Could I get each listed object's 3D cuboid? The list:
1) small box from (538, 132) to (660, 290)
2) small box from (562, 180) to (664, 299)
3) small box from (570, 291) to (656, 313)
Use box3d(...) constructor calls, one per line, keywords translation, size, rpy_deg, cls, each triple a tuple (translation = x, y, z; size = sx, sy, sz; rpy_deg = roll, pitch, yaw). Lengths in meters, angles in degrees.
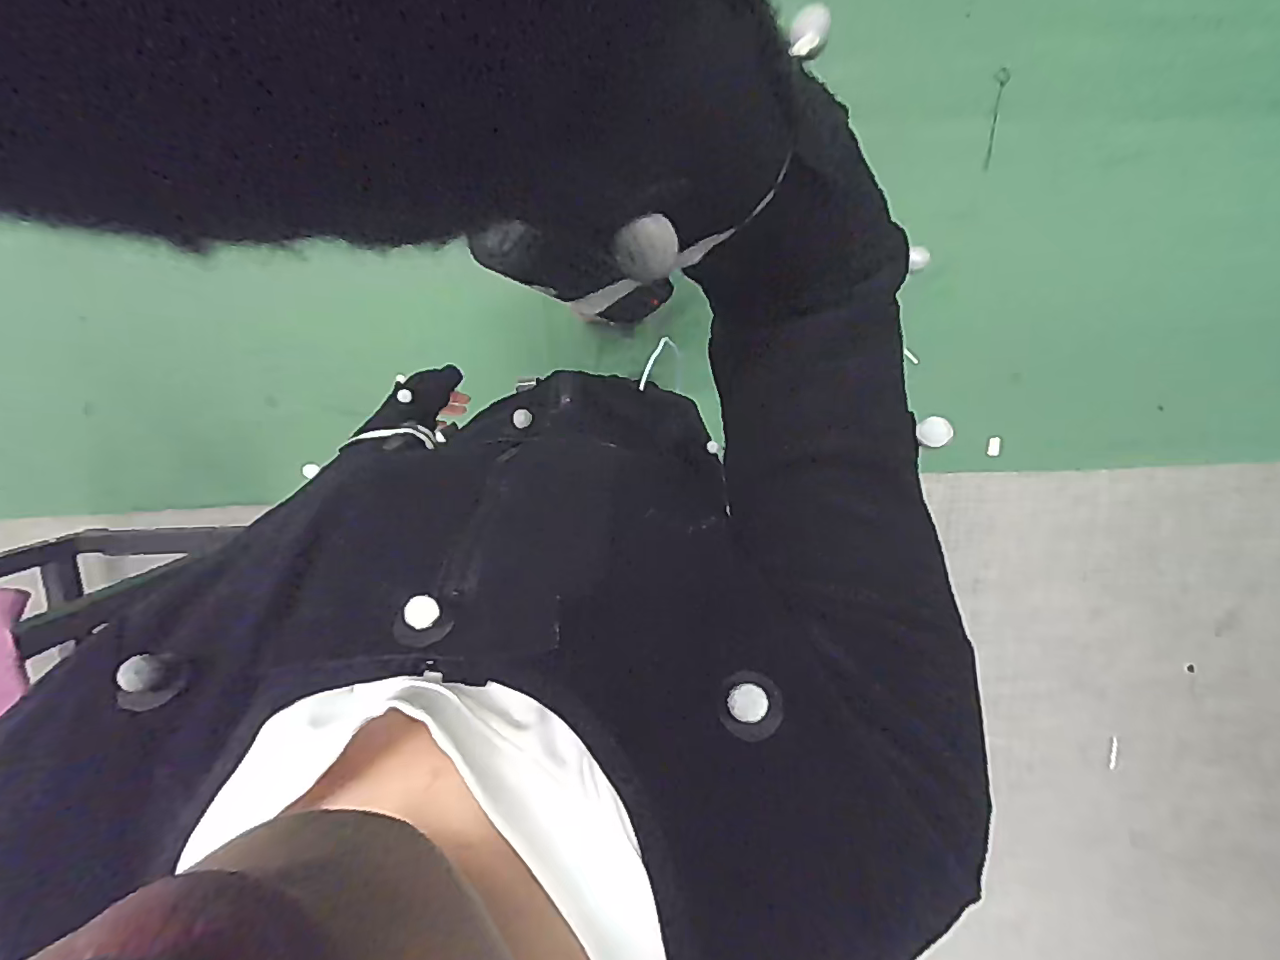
box3d(translation=(-0.056, -0.396, 0.821), size=(0.168, 0.176, 0.179), rpy_deg=(-2, 101, 1), cls="small box")
box3d(translation=(-0.049, -0.429, 0.981), size=(0.179, 0.176, 0.168), rpy_deg=(0, 99, 0), cls="small box")
box3d(translation=(-0.055, -0.449, 1.146), size=(0.179, 0.176, 0.168), rpy_deg=(-2, 101, 0), cls="small box")
